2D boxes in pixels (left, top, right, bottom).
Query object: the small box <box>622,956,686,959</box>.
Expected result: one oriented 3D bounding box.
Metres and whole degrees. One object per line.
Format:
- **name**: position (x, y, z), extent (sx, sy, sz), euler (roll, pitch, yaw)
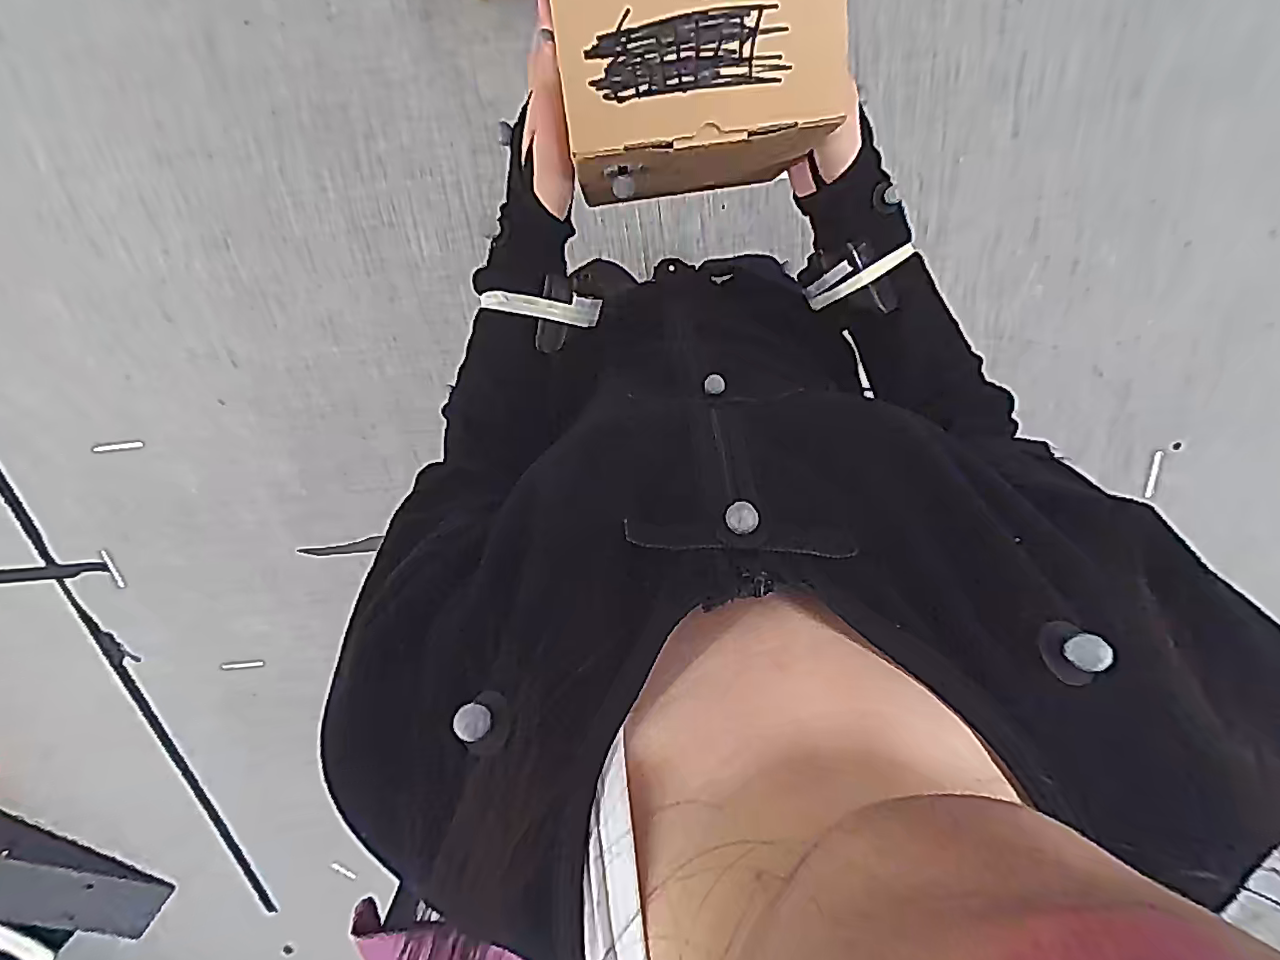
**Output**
- **small box**: position (0.040, 1.167, 1.157), extent (0.168, 0.176, 0.179), euler (-4, 113, 3)
